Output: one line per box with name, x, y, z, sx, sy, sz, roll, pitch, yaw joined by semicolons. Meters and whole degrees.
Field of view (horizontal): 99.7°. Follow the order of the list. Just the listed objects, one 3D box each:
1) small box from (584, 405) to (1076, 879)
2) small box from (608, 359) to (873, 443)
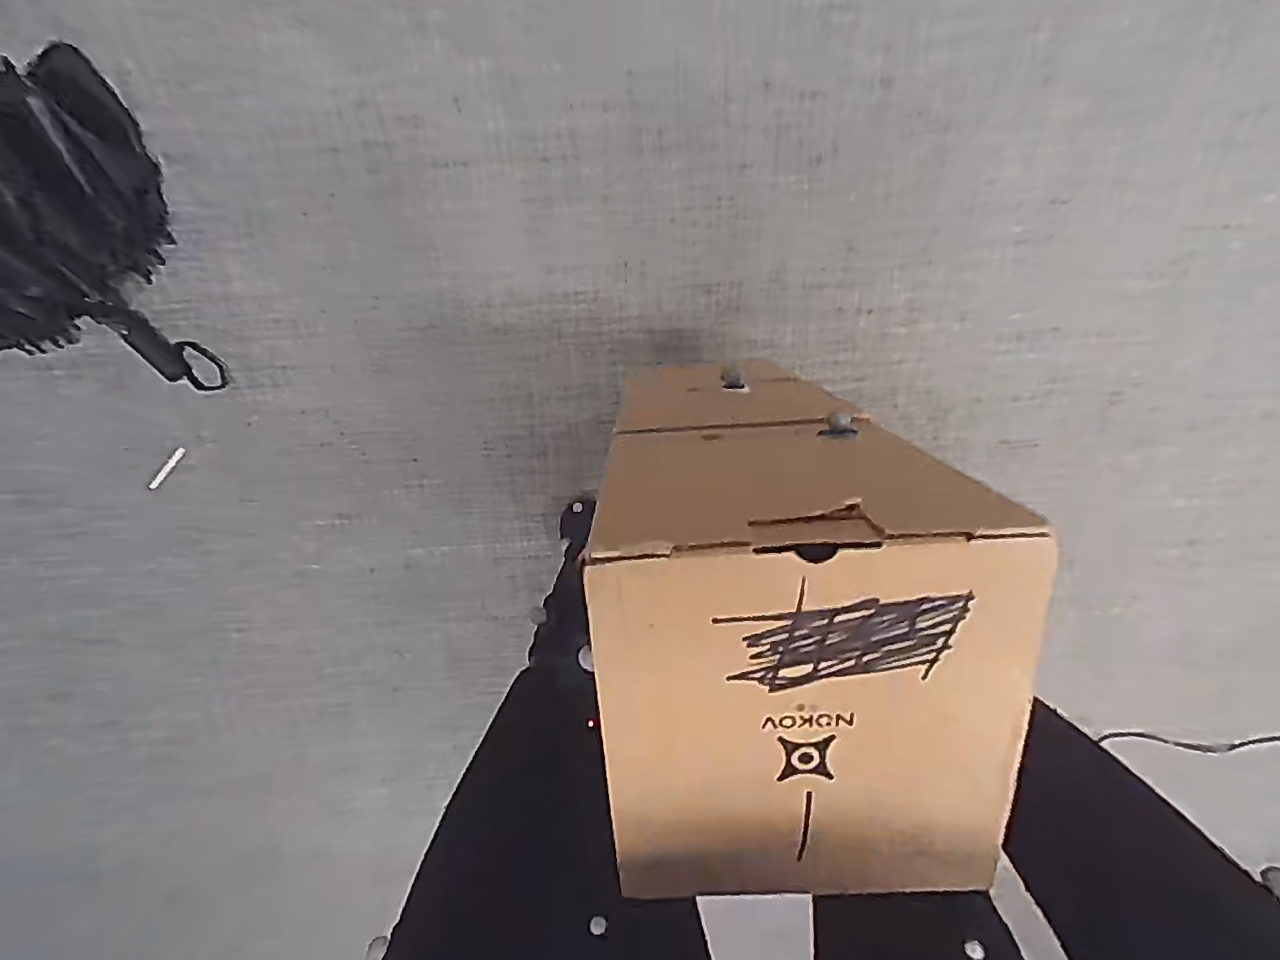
small box;0.067;0.060;0.279;0.168;0.176;0.179;-3;109;3
small box;0.070;0.003;0.434;0.168;0.176;0.179;-4;107;3
